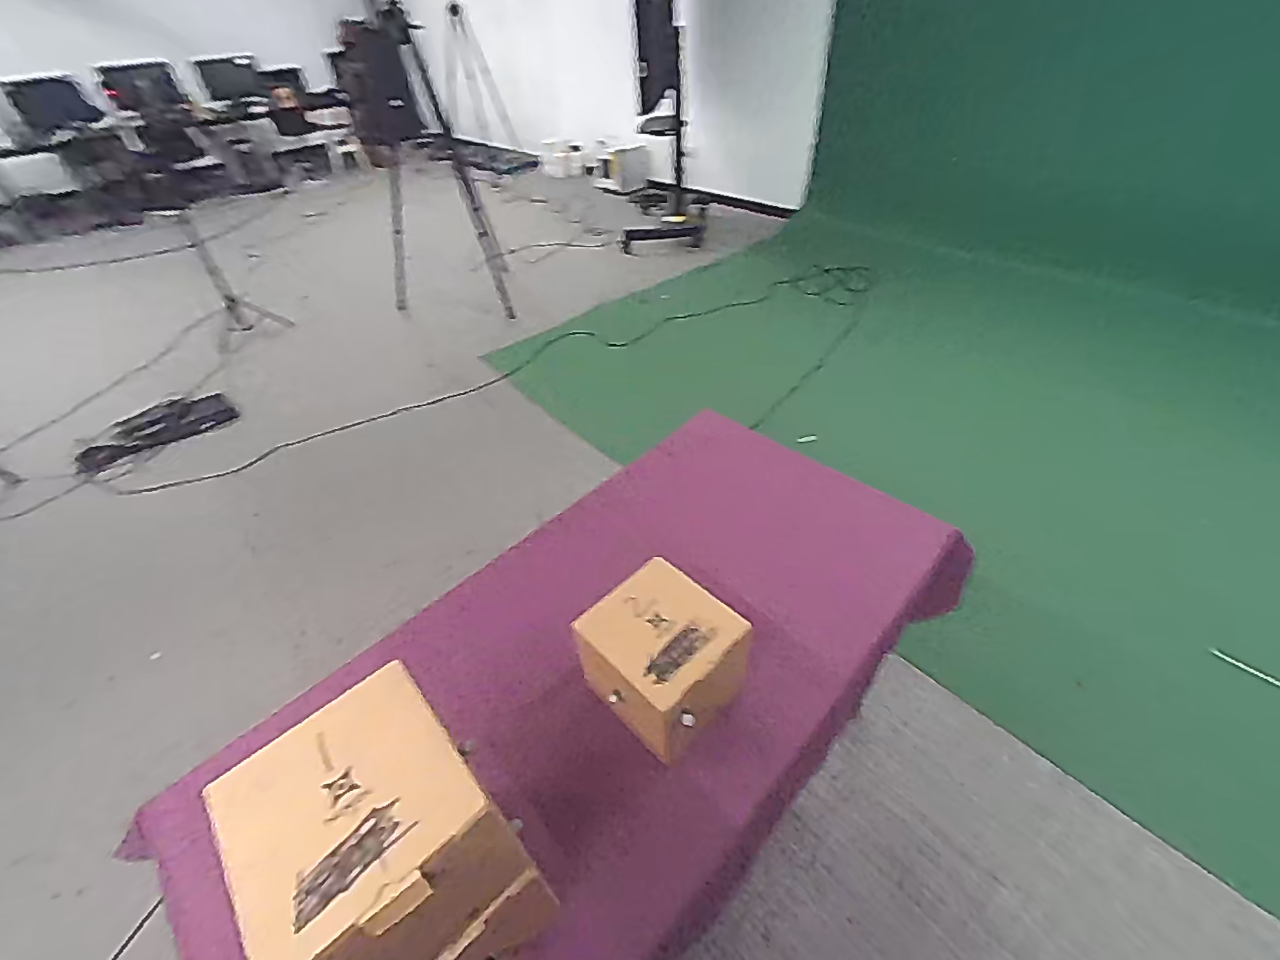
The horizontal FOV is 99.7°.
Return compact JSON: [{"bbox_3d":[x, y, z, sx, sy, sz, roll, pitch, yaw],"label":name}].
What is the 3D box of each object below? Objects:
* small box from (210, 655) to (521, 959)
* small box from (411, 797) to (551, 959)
[{"bbox_3d":[-0.228,0.302,0.481,0.168,0.176,0.179,-33,49,-28],"label":"small box"},{"bbox_3d":[-0.216,0.427,0.588,0.168,0.176,0.179,-33,51,-29],"label":"small box"}]
